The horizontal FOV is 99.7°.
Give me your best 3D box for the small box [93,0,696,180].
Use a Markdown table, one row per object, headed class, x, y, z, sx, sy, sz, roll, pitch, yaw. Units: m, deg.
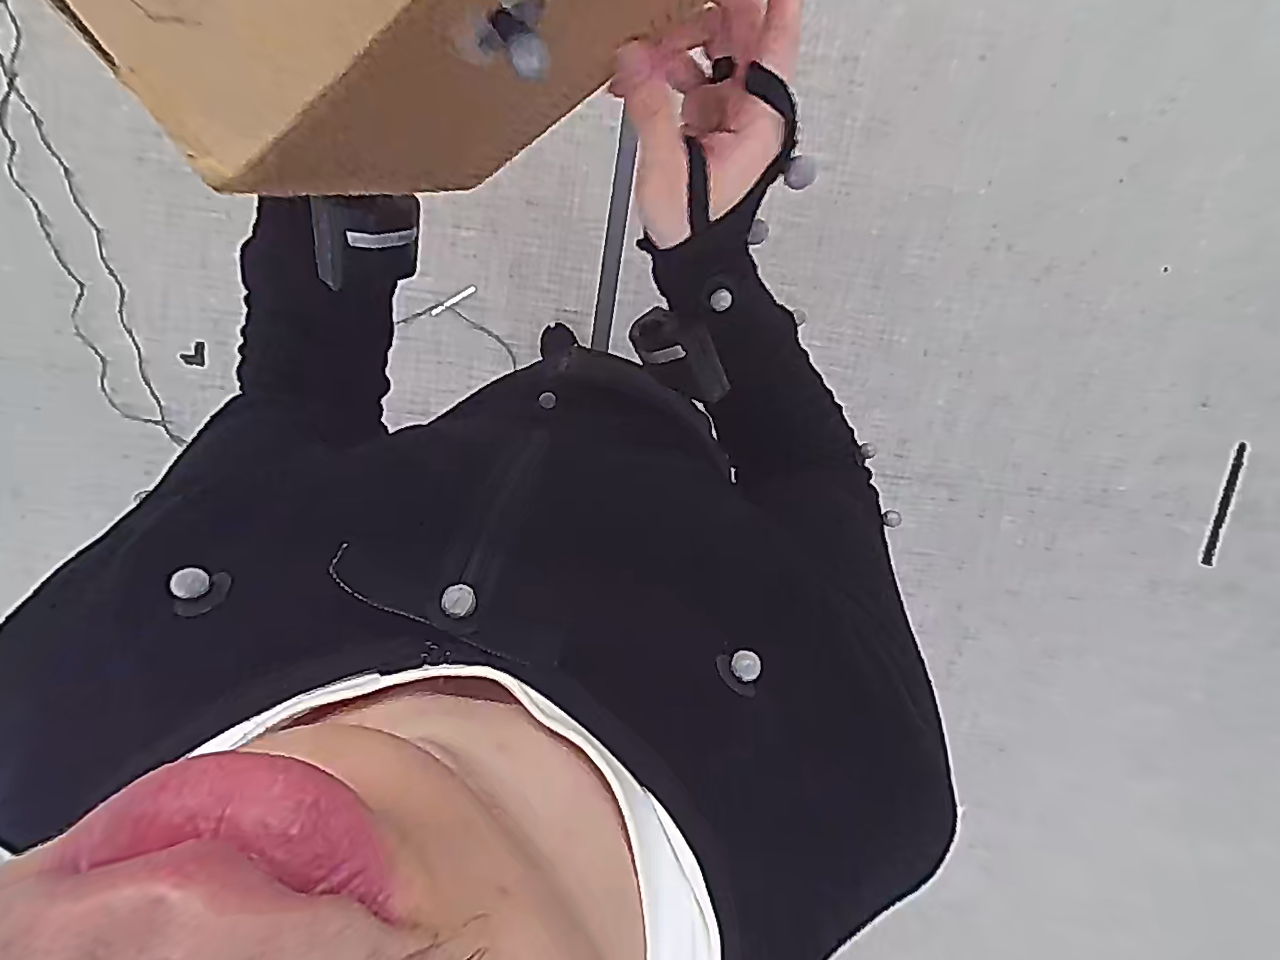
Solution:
| class | x | y | z | sx | sy | sz | roll | pitch | yaw |
| --- | --- | --- | --- | --- | --- | --- | --- | --- | --- |
| small box | -0.071 | -0.218 | 0.164 | 0.179 | 0.176 | 0.168 | -26 | 113 | 21 |
